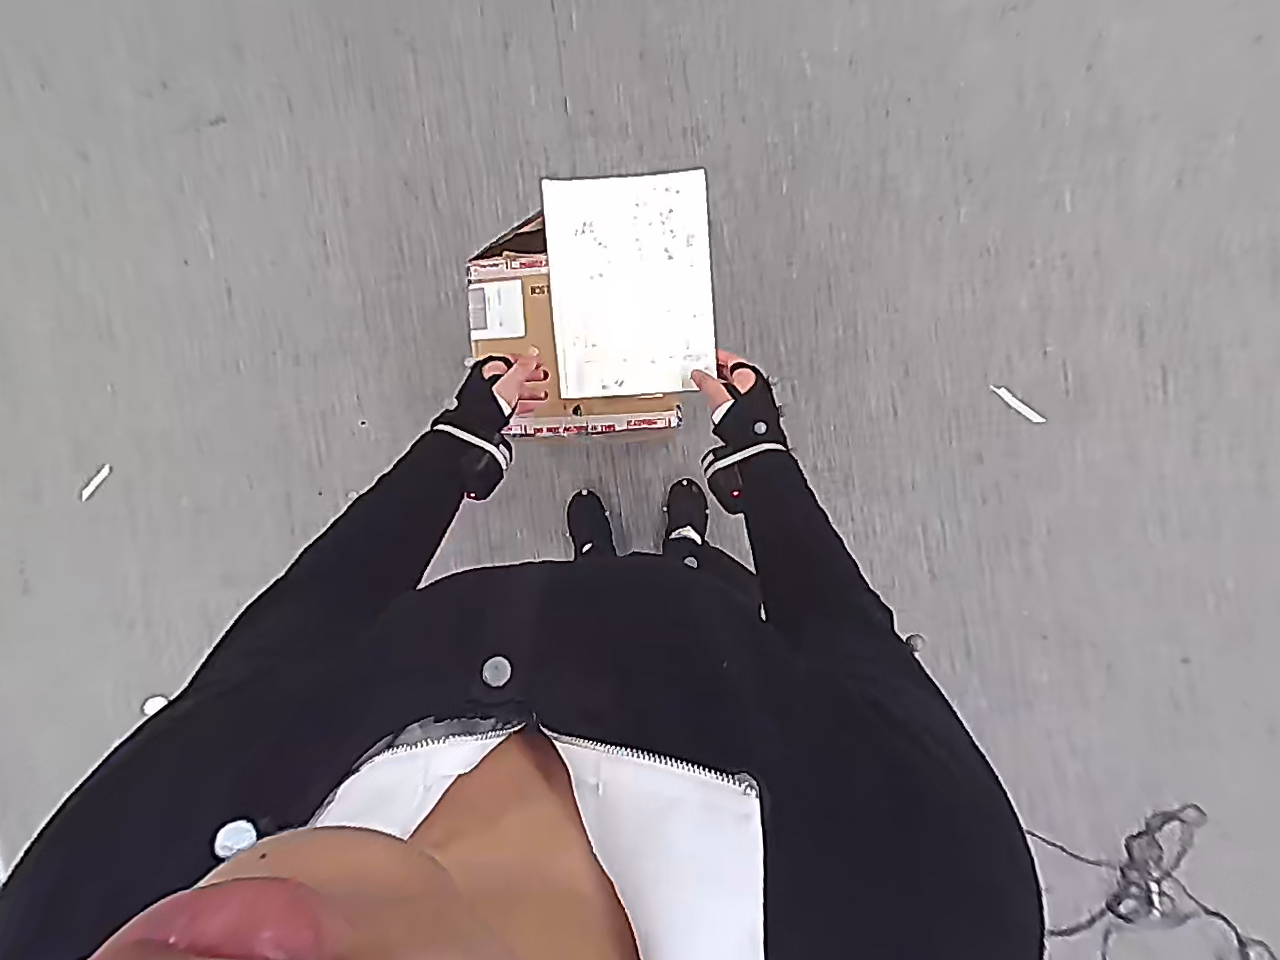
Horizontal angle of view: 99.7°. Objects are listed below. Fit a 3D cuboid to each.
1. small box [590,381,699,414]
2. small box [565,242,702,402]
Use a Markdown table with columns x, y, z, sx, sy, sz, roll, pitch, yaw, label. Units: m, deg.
| x | y | z | sx | sy | sz | roll | pitch | yaw | label |
| --- | --- | --- | --- | --- | --- | --- | --- | --- | --- |
| -0.001 | -0.211 | 0.937 | 0.179 | 0.176 | 0.168 | -9 | 92 | 2 | small box |
| -0.008 | -0.214 | 0.774 | 0.168 | 0.176 | 0.179 | -6 | 93 | 1 | small box |
